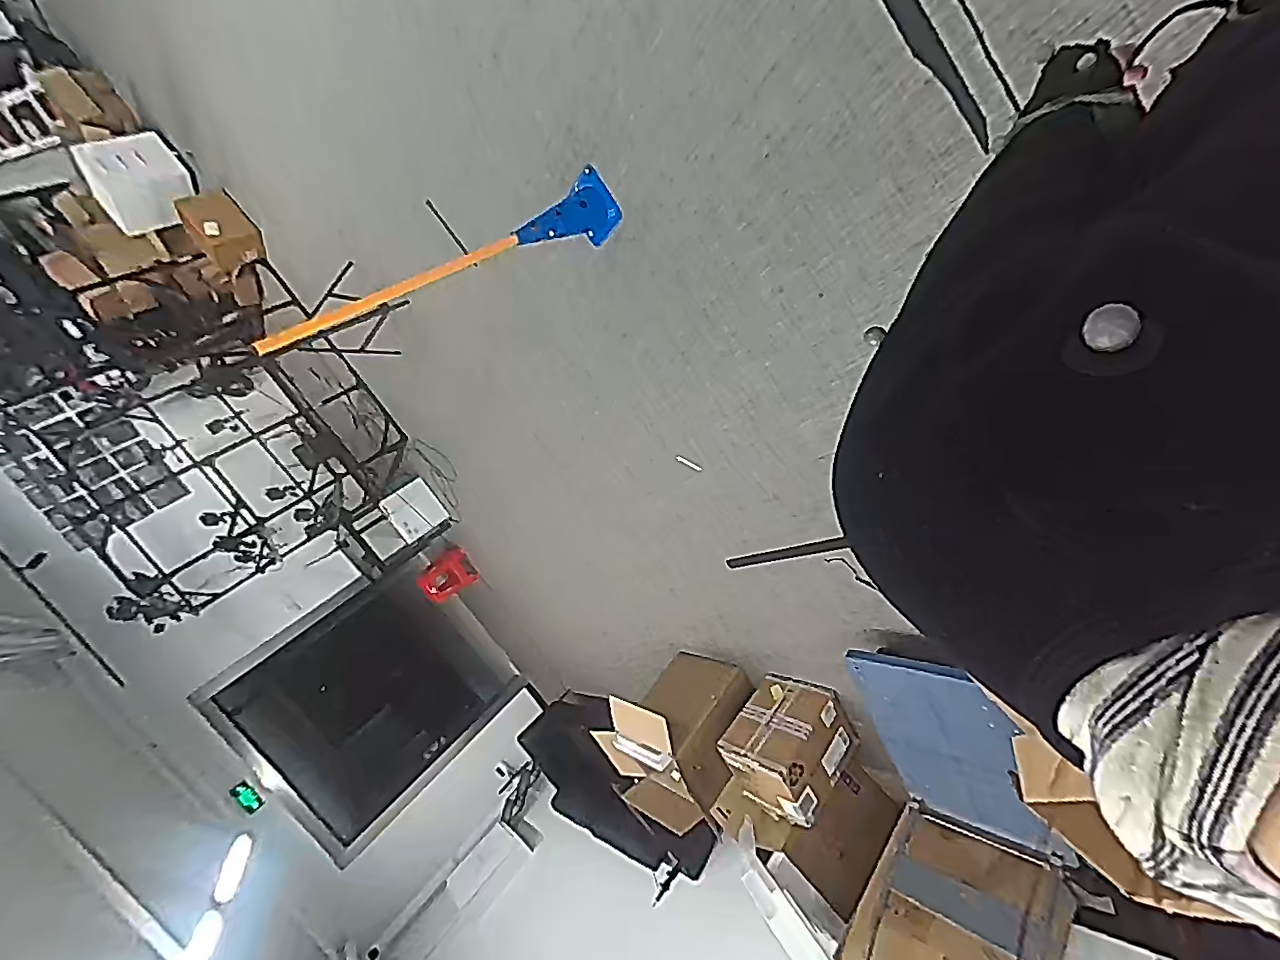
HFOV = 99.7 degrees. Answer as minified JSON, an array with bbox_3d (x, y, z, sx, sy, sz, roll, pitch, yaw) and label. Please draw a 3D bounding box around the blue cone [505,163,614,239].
[{"bbox_3d":[-0.278,-0.861,1.764,0.192,0.380,0.193,56,146,-9],"label":"blue cone"}]
